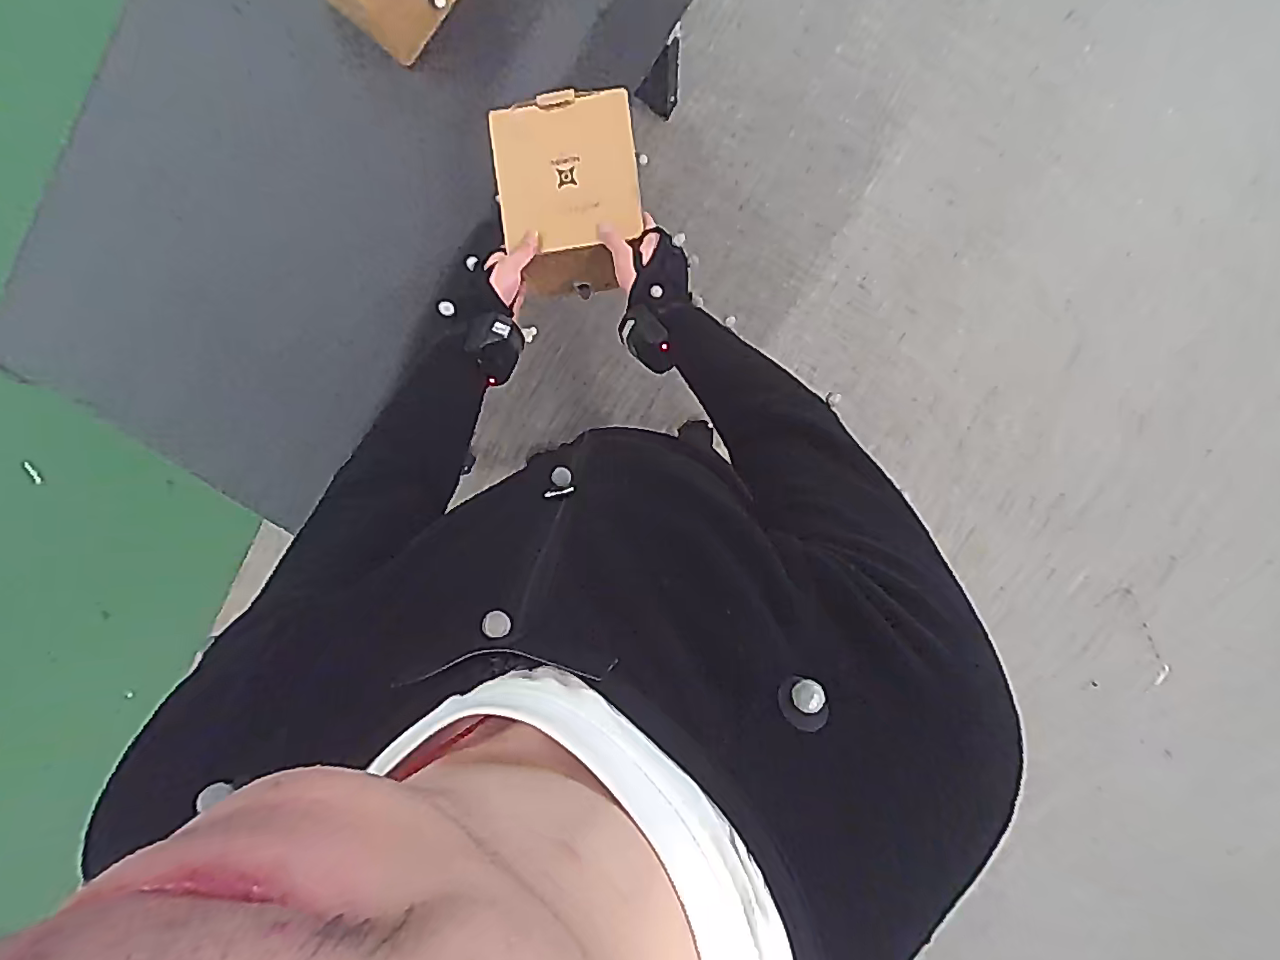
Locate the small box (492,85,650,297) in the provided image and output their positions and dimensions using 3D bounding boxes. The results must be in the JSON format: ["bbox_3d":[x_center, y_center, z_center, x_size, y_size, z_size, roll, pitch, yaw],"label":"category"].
[{"bbox_3d":[-0.078,-0.354,0.693,0.168,0.176,0.179,-5,91,5],"label":"small box"}]

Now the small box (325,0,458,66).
[{"bbox_3d":[-0.344,-0.698,0.689,0.168,0.176,0.179,40,97,-3],"label":"small box"}]
